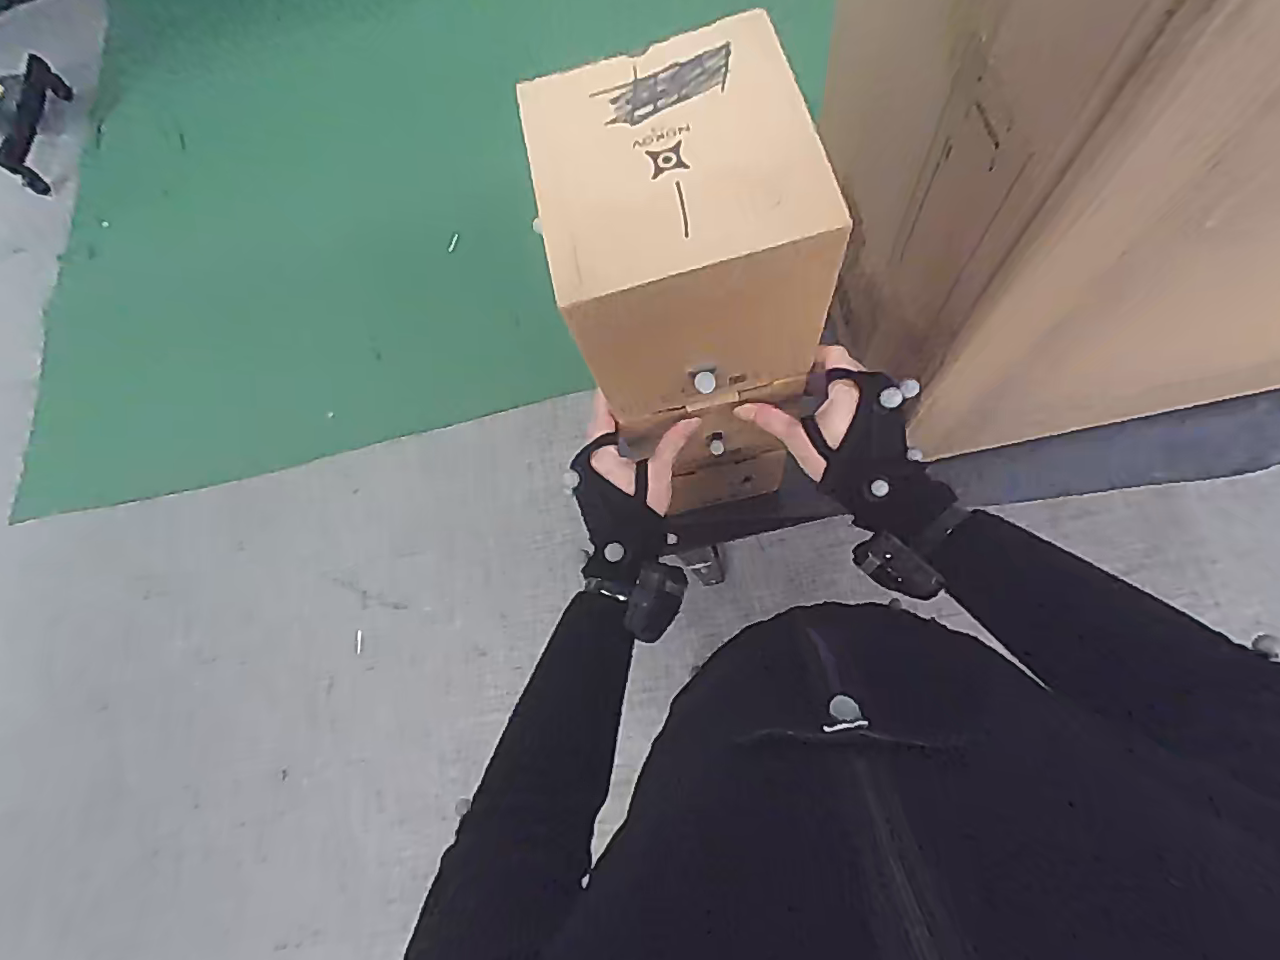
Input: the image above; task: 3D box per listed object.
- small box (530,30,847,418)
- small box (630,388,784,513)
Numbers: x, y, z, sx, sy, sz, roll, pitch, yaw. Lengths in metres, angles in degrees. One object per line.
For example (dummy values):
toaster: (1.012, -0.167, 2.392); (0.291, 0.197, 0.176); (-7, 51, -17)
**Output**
small box: (0.032, -0.172, 0.406); (0.168, 0.176, 0.179); (-14, 72, 6)
small box: (0.083, -0.065, 0.713); (0.168, 0.176, 0.179); (-14, 69, 5)
